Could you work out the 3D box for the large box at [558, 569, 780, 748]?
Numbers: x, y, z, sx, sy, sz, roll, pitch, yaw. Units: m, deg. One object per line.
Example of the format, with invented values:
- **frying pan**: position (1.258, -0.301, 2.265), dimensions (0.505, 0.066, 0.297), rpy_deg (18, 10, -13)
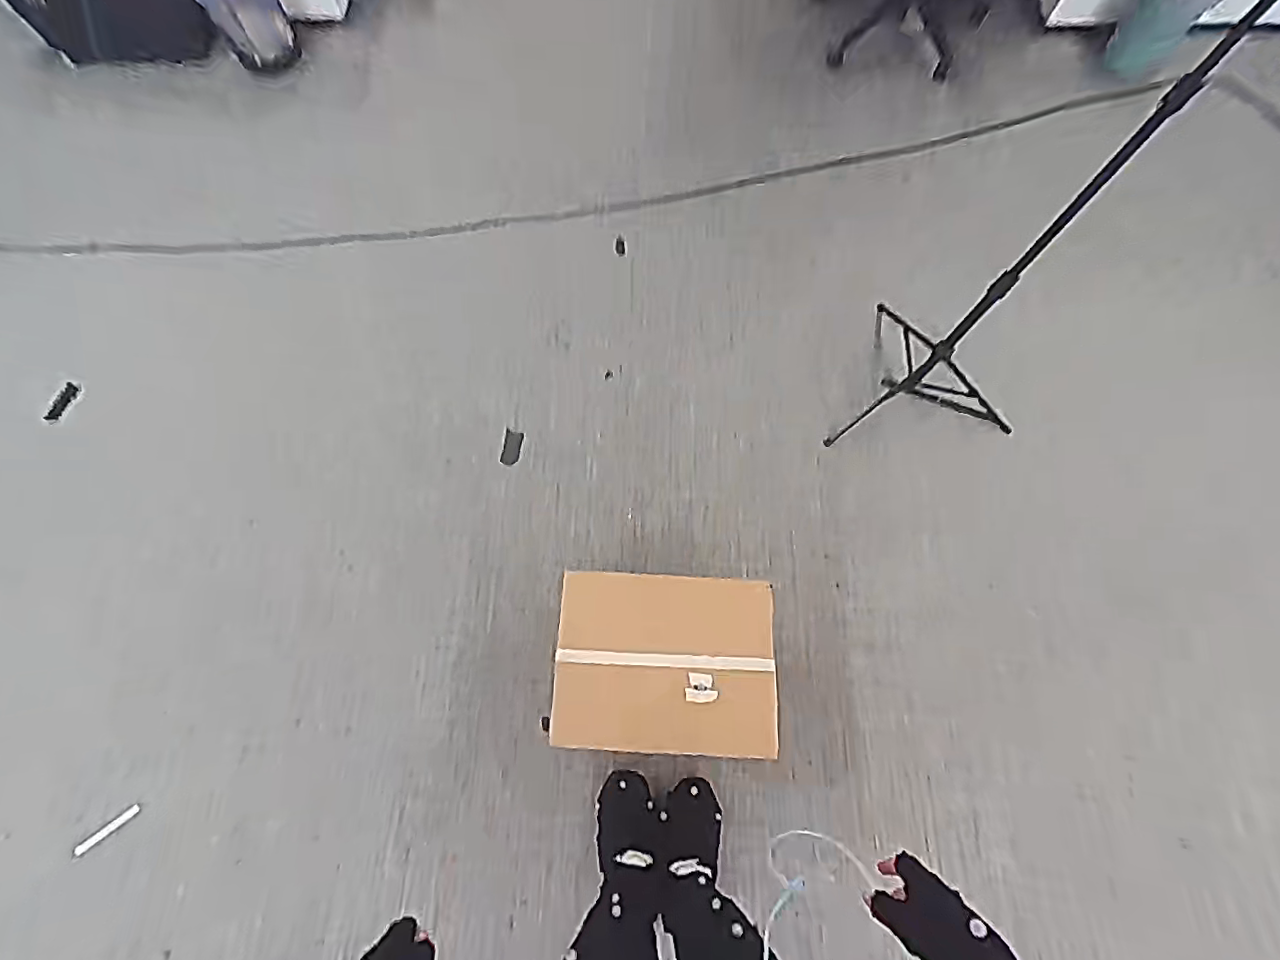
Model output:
- **large box**: position (0.054, 0.377, 1.150), dimensions (0.408, 0.320, 0.320), rpy_deg (3, 71, 1)
